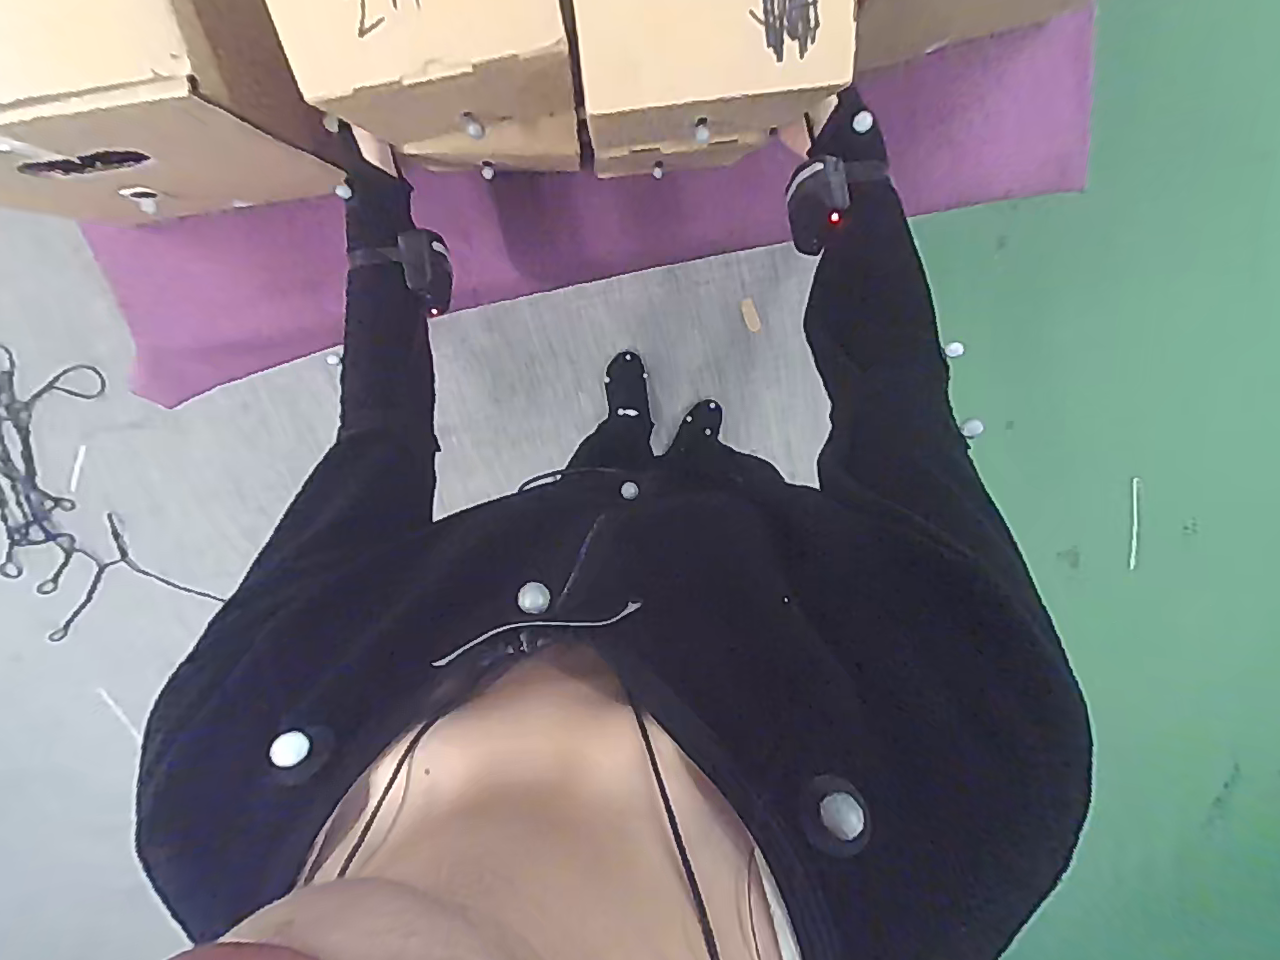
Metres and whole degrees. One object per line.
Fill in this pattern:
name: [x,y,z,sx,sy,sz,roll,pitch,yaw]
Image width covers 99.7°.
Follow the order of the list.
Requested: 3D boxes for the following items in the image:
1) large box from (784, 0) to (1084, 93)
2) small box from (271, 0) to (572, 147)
large box: [0.289,-0.631,0.438,0.320,0.320,0.408,-14,108,3]
small box: [-0.145,-0.355,0.369,0.168,0.176,0.179,-11,113,0]
